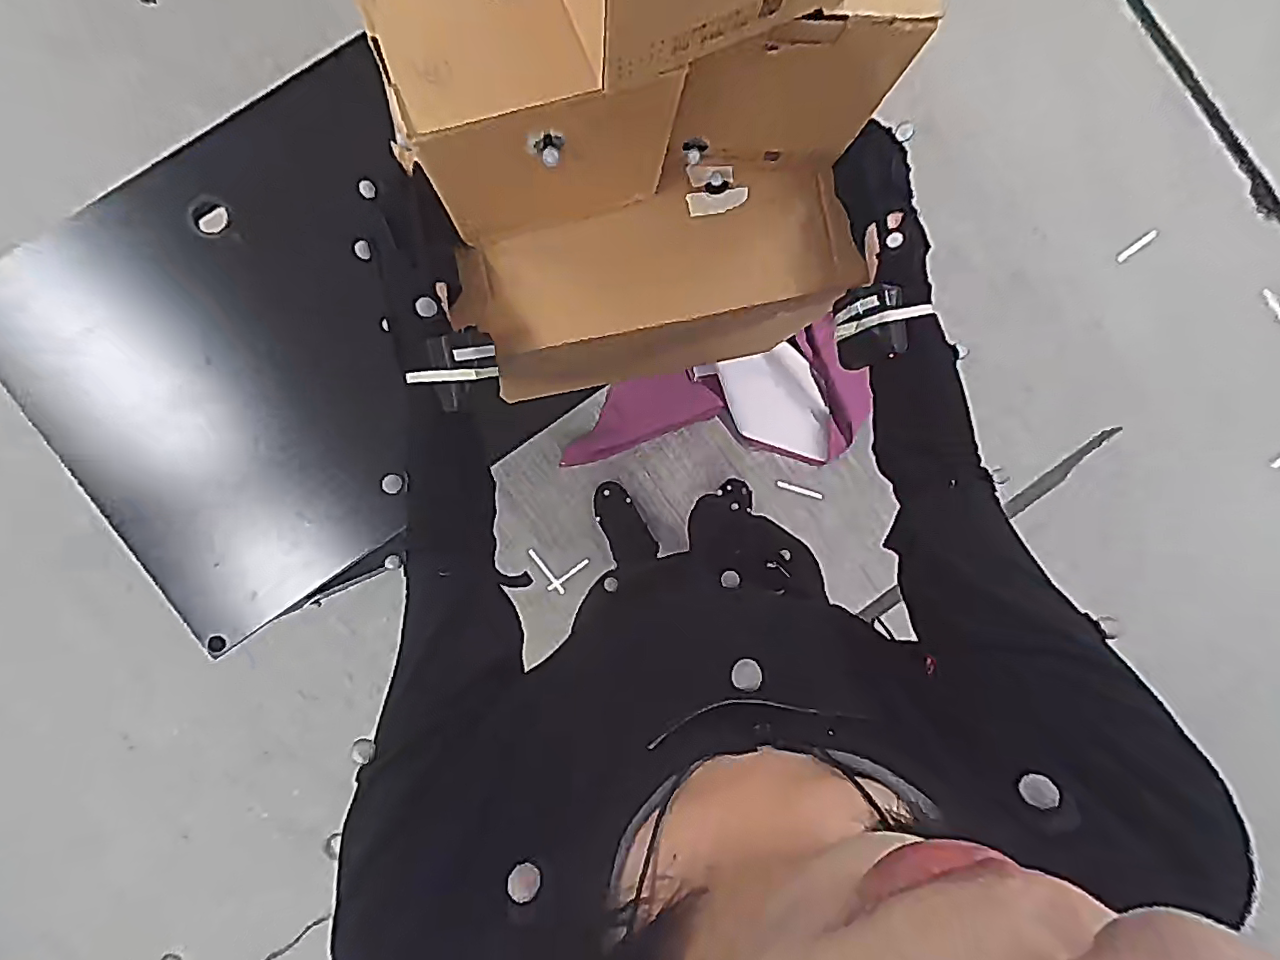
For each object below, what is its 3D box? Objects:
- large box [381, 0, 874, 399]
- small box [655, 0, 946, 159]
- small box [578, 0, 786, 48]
[{"bbox_3d":[-0.017,-0.304,0.639,0.408,0.320,0.320,-13,93,-5],"label":"large box"},{"bbox_3d":[0.102,-0.371,0.403,0.168,0.176,0.179,0,91,-4],"label":"small box"},{"bbox_3d":[0.029,-0.340,0.235,0.168,0.176,0.179,-24,94,-4],"label":"small box"}]
